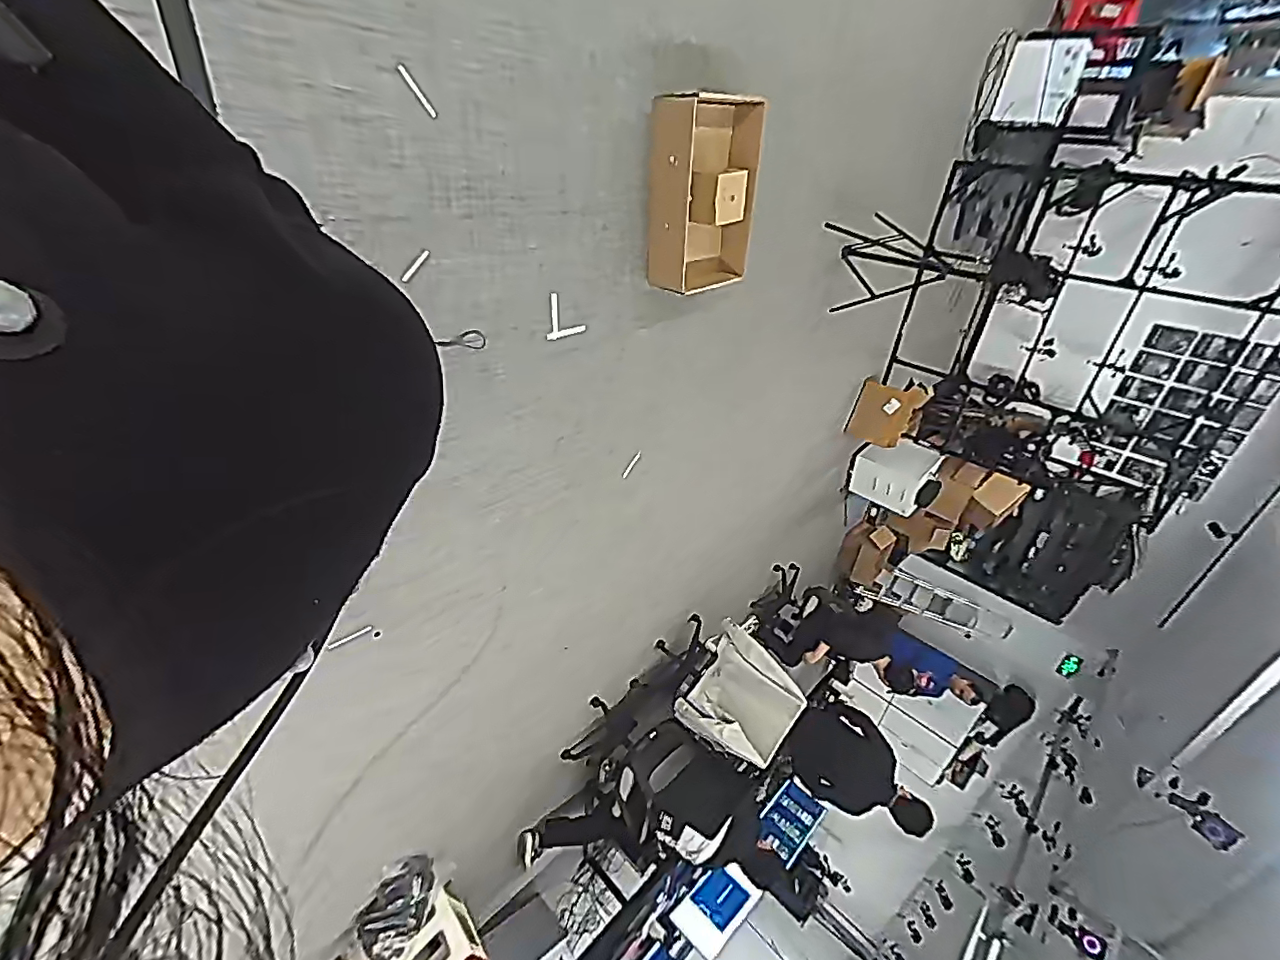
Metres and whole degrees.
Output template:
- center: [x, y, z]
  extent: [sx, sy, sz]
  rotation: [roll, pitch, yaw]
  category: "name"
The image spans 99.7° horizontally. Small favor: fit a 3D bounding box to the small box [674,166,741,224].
- center: [0.247, -1.050, 1.985]
  extent: [0.179, 0.176, 0.168]
  rotation: [-31, 136, -35]
  category: "small box"
